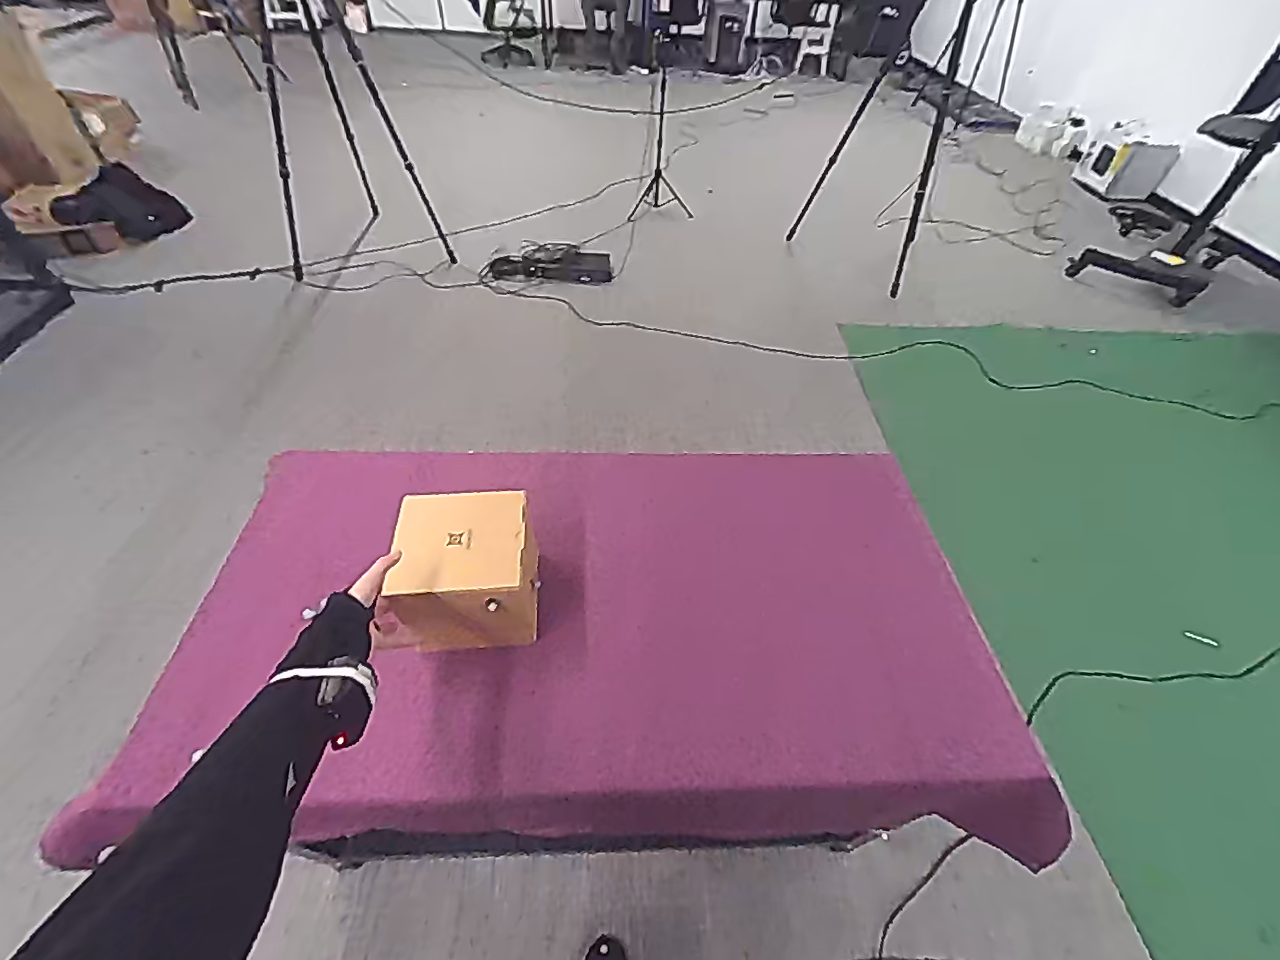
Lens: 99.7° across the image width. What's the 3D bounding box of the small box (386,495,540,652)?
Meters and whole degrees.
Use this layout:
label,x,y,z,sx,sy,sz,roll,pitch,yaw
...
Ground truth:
label,x,y,z,sx,sy,sz,roll,pitch,yaw
small box,-0.246,0.141,0.799,0.179,0.176,0.168,-3,48,-7
